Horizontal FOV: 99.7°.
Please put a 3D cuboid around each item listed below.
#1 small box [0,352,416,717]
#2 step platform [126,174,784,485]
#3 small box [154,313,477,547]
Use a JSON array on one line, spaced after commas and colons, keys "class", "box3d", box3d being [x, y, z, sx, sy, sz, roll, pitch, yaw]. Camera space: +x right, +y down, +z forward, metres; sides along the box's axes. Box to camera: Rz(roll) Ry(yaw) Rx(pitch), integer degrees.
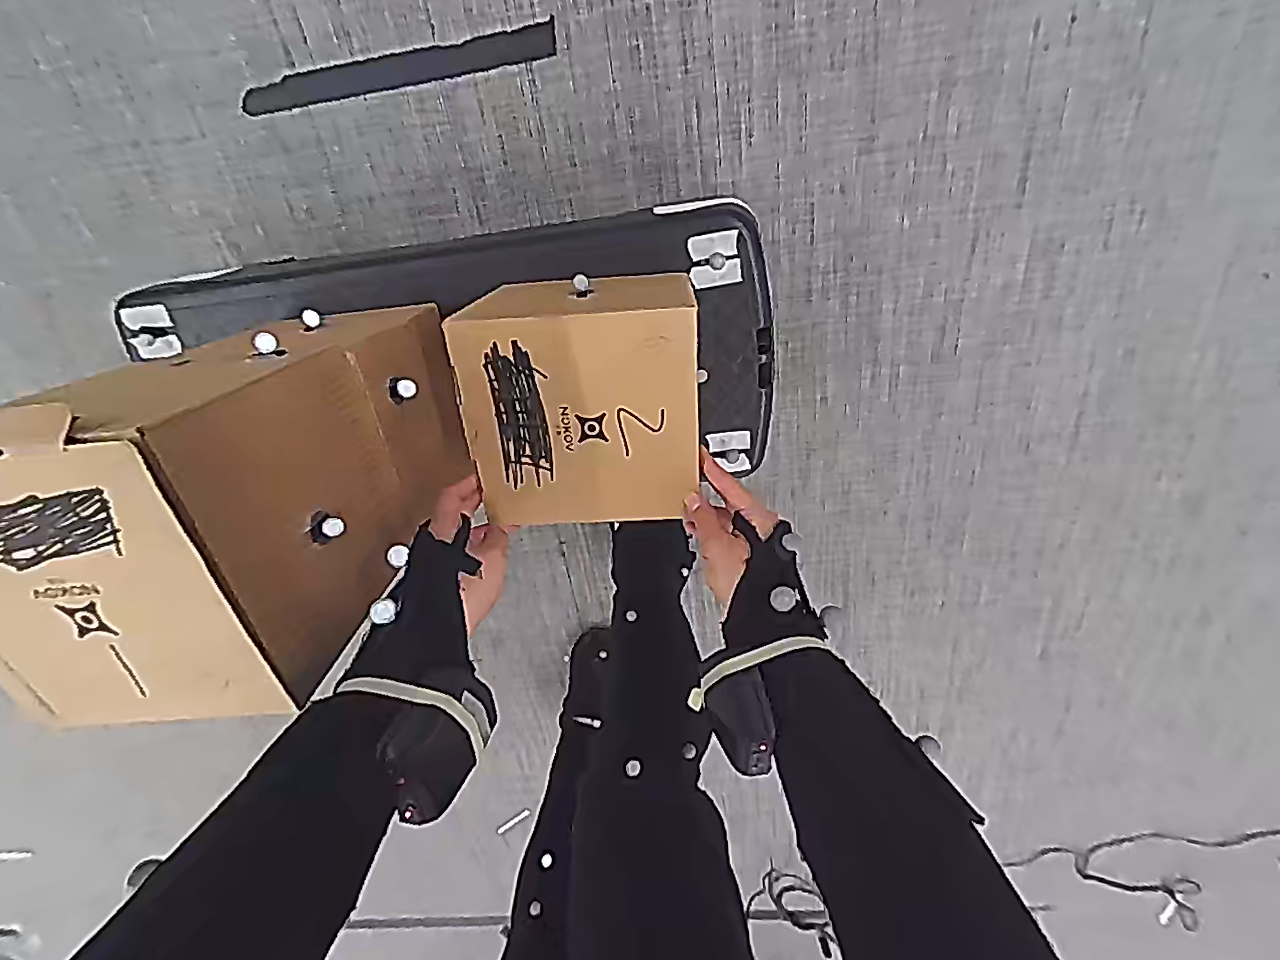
[{"class": "small box", "box3d": [-0.275, 0.022, 0.351, 0.168, 0.176, 0.179, -4, 118, 5]}, {"class": "step platform", "box3d": [-0.182, -0.155, 0.637, 0.684, 0.204, 0.286, -6, 117, 6]}, {"class": "small box", "box3d": [-0.268, -0.051, 0.498, 0.168, 0.176, 0.179, -4, 117, 4]}]
